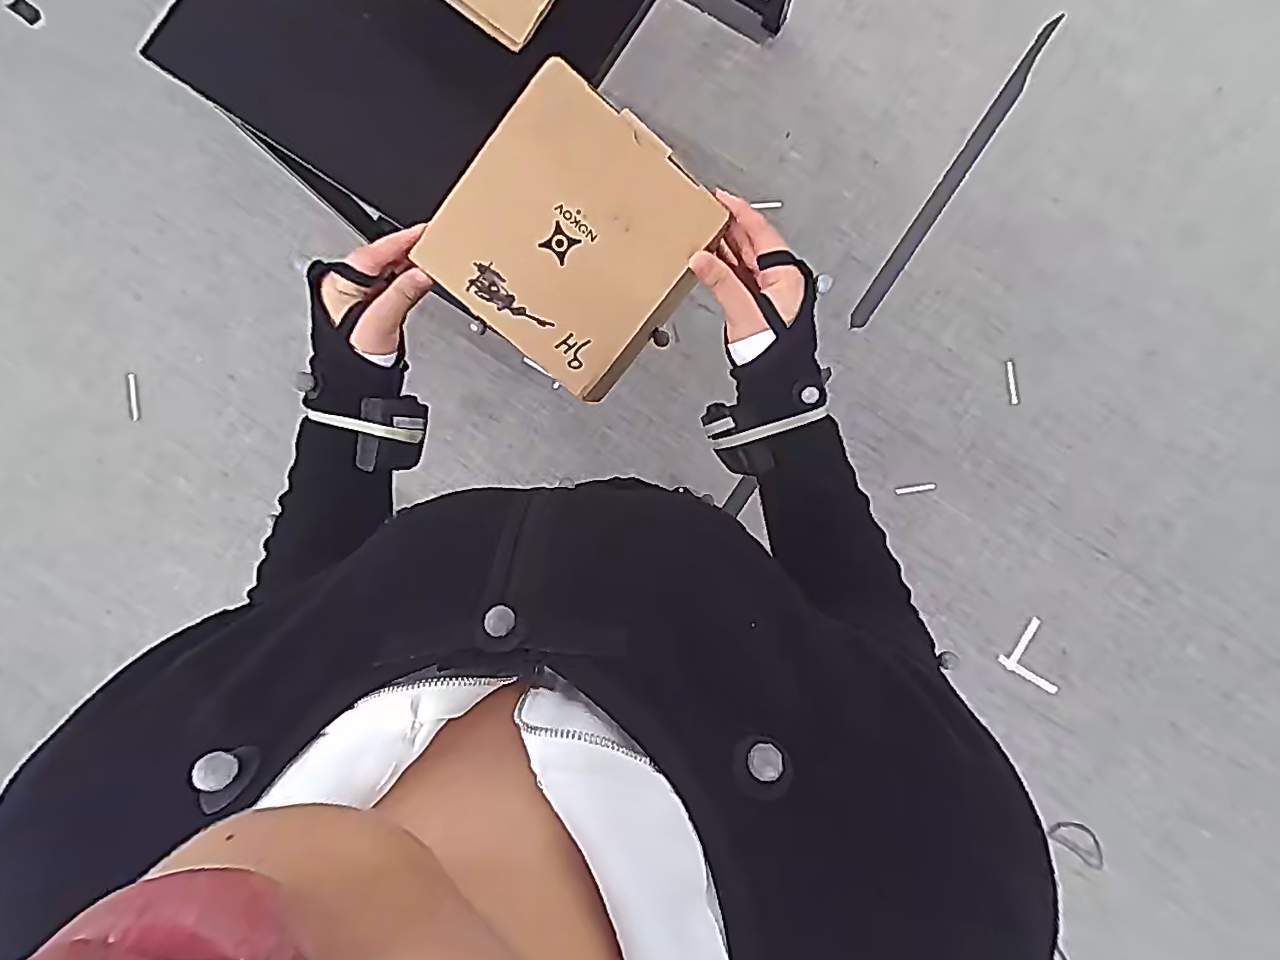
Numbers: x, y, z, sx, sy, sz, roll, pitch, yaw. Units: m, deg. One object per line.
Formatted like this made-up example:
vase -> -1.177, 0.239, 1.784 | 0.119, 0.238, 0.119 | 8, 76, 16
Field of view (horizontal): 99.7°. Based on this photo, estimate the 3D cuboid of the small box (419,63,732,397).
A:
small box -> -0.049, -0.190, 0.475 | 0.168, 0.176, 0.179 | 40, 95, -5
